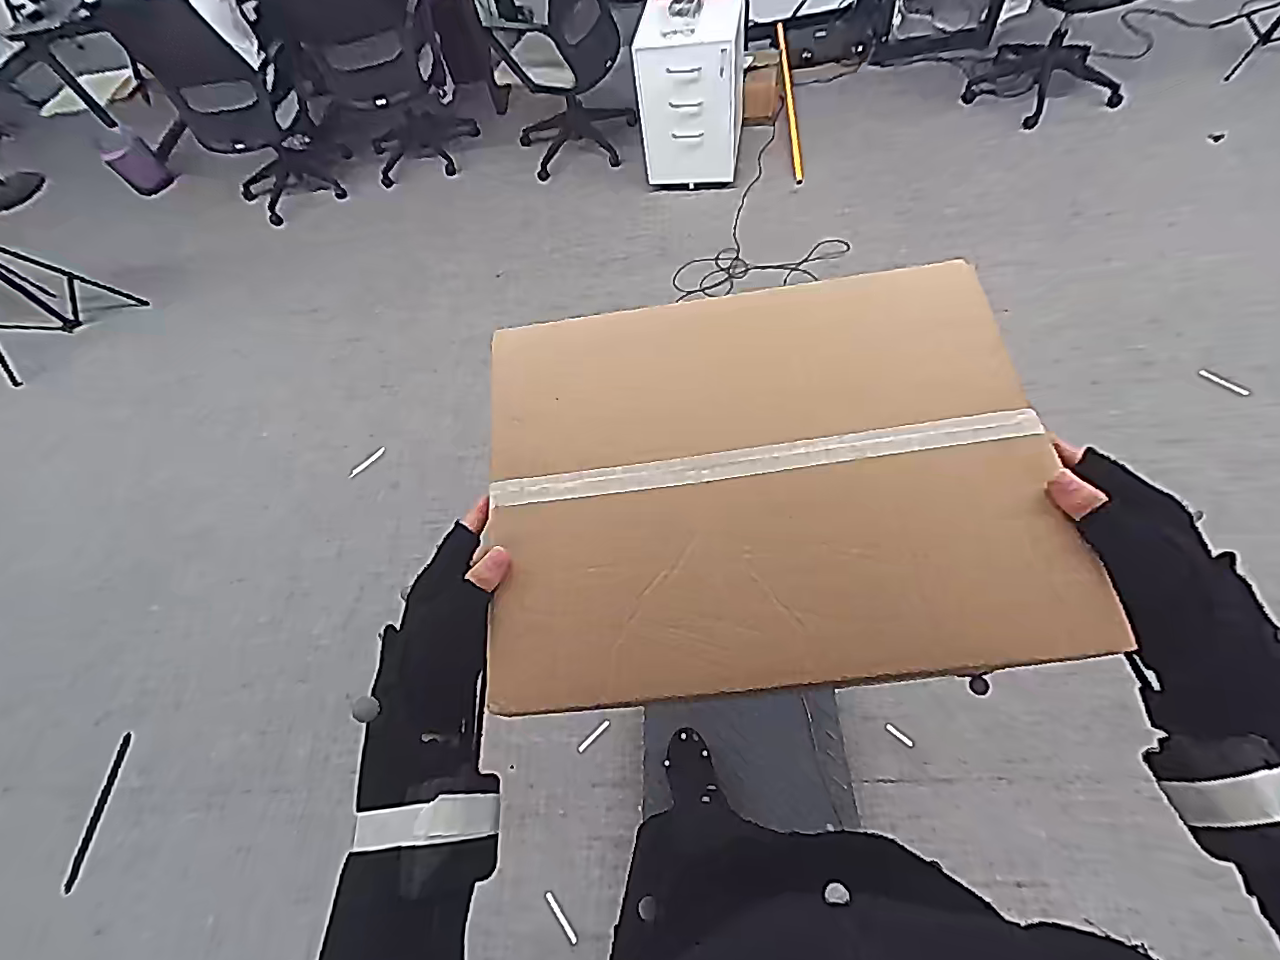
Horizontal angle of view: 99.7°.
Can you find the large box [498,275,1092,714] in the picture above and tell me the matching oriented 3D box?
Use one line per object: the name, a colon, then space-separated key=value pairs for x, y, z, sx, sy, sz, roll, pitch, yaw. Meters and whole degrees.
large box: x=0.103 y=0.047 z=0.555 sx=0.408 sy=0.320 sz=0.320 roll=-8 pitch=67 yaw=5
